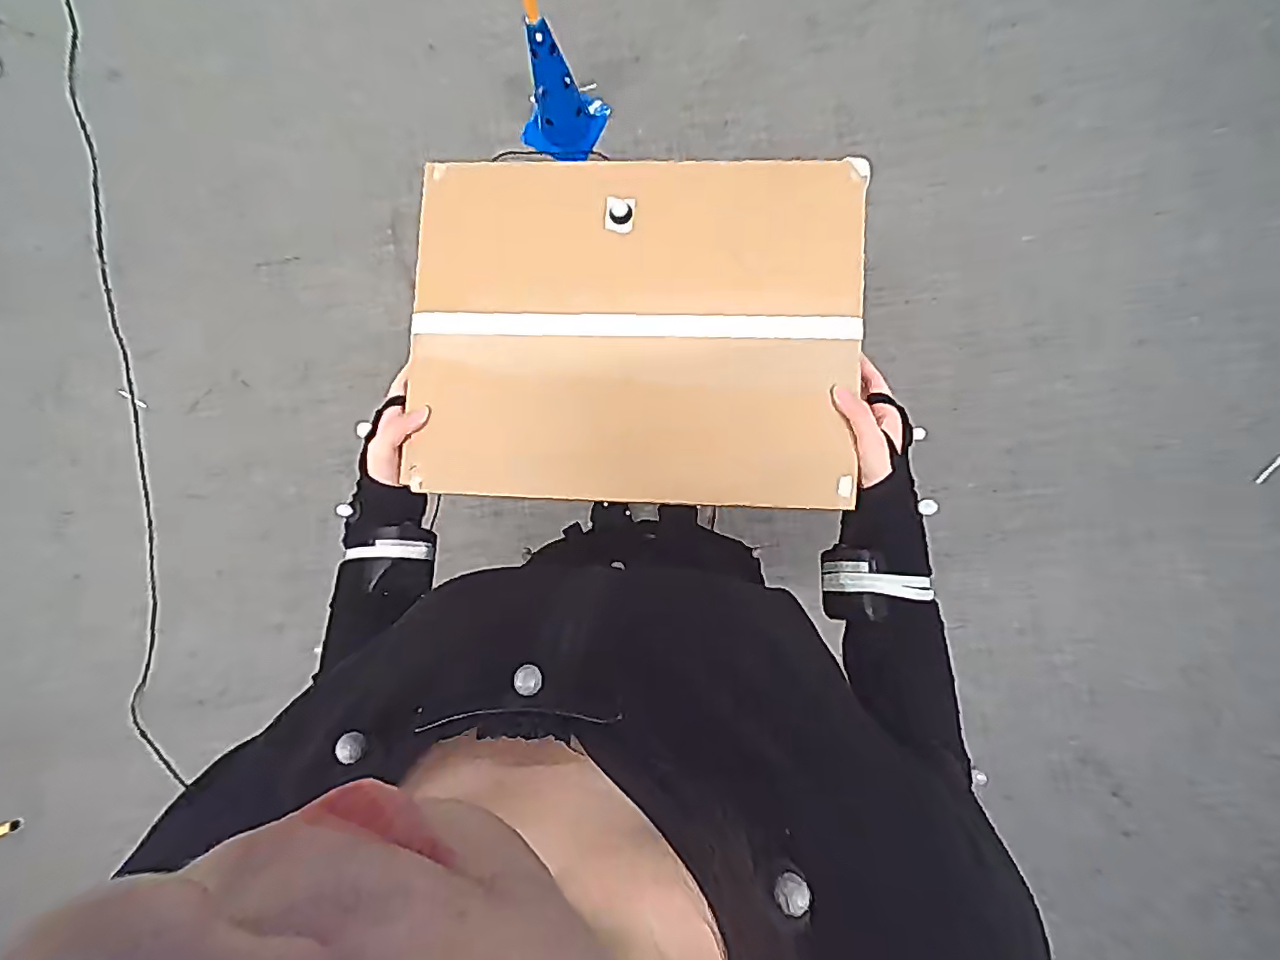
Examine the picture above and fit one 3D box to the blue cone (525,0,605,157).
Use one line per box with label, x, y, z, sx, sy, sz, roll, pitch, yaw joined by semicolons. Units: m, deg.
blue cone;-0.215;-1.003;1.323;0.192;0.380;0.193;25;91;2
